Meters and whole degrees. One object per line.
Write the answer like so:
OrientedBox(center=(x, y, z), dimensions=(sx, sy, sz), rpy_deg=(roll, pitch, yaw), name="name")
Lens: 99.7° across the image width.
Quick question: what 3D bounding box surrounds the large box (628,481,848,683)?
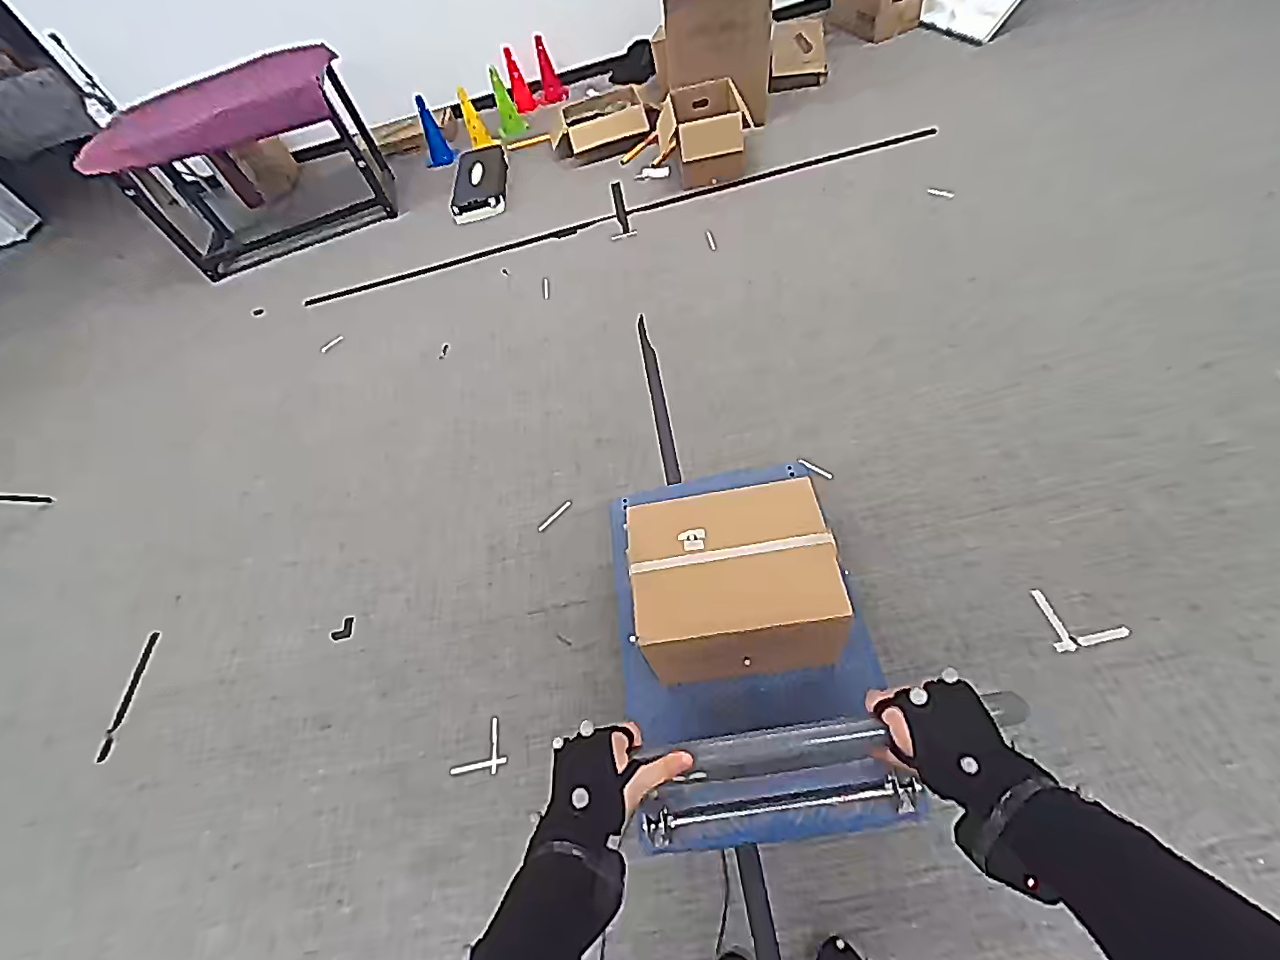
OrientedBox(center=(0.209, 0.243, 1.223), dimensions=(0.408, 0.320, 0.320), rpy_deg=(-11, 53, 7), name="large box")
